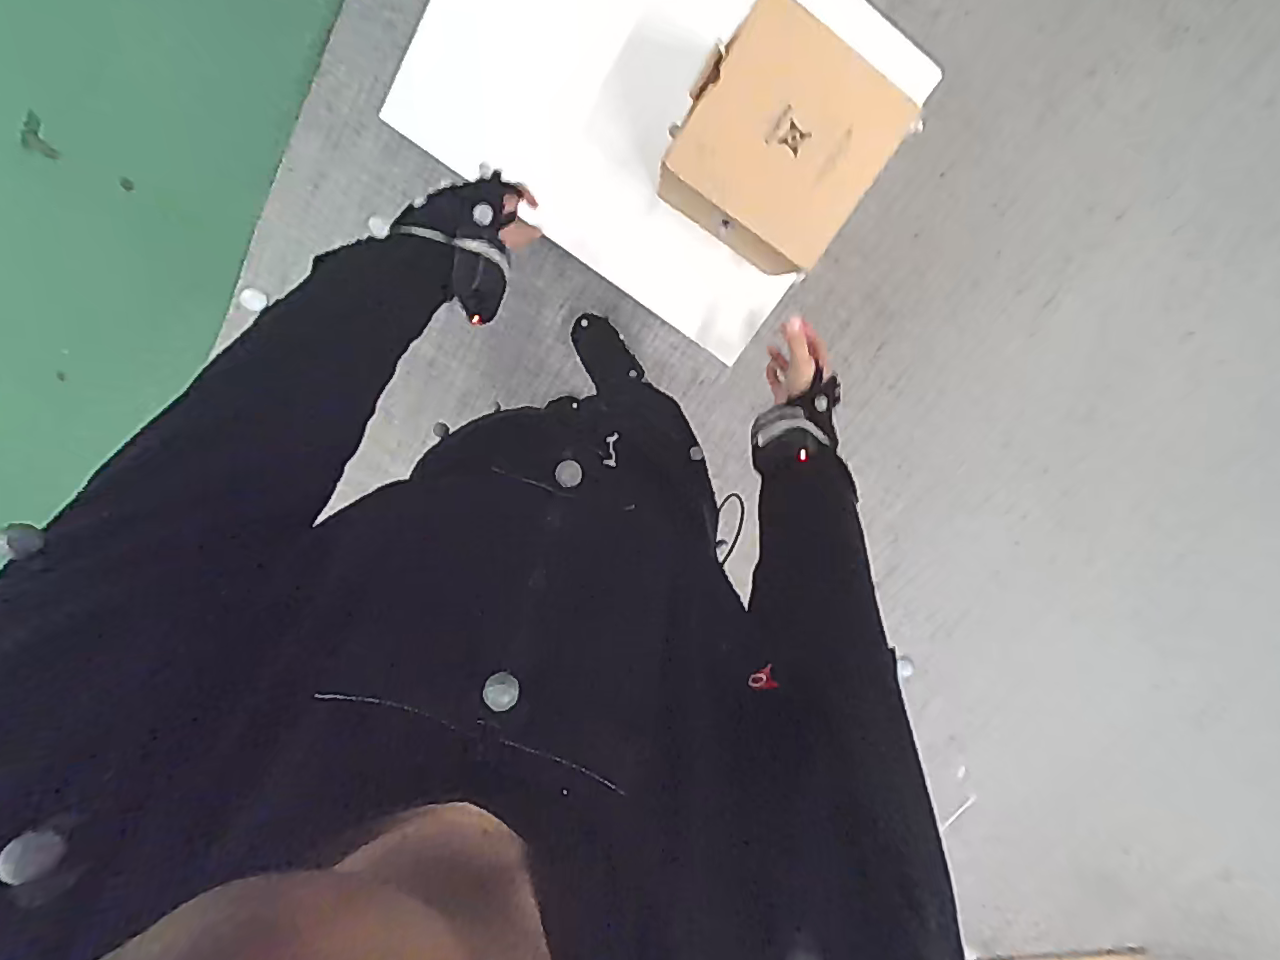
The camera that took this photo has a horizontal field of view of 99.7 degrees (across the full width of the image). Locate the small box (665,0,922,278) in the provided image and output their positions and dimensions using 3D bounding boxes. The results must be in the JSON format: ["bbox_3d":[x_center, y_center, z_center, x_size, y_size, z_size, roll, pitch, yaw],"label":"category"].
[{"bbox_3d":[0.138,-0.327,0.566,0.179,0.176,0.168,31,106,-10],"label":"small box"}]
